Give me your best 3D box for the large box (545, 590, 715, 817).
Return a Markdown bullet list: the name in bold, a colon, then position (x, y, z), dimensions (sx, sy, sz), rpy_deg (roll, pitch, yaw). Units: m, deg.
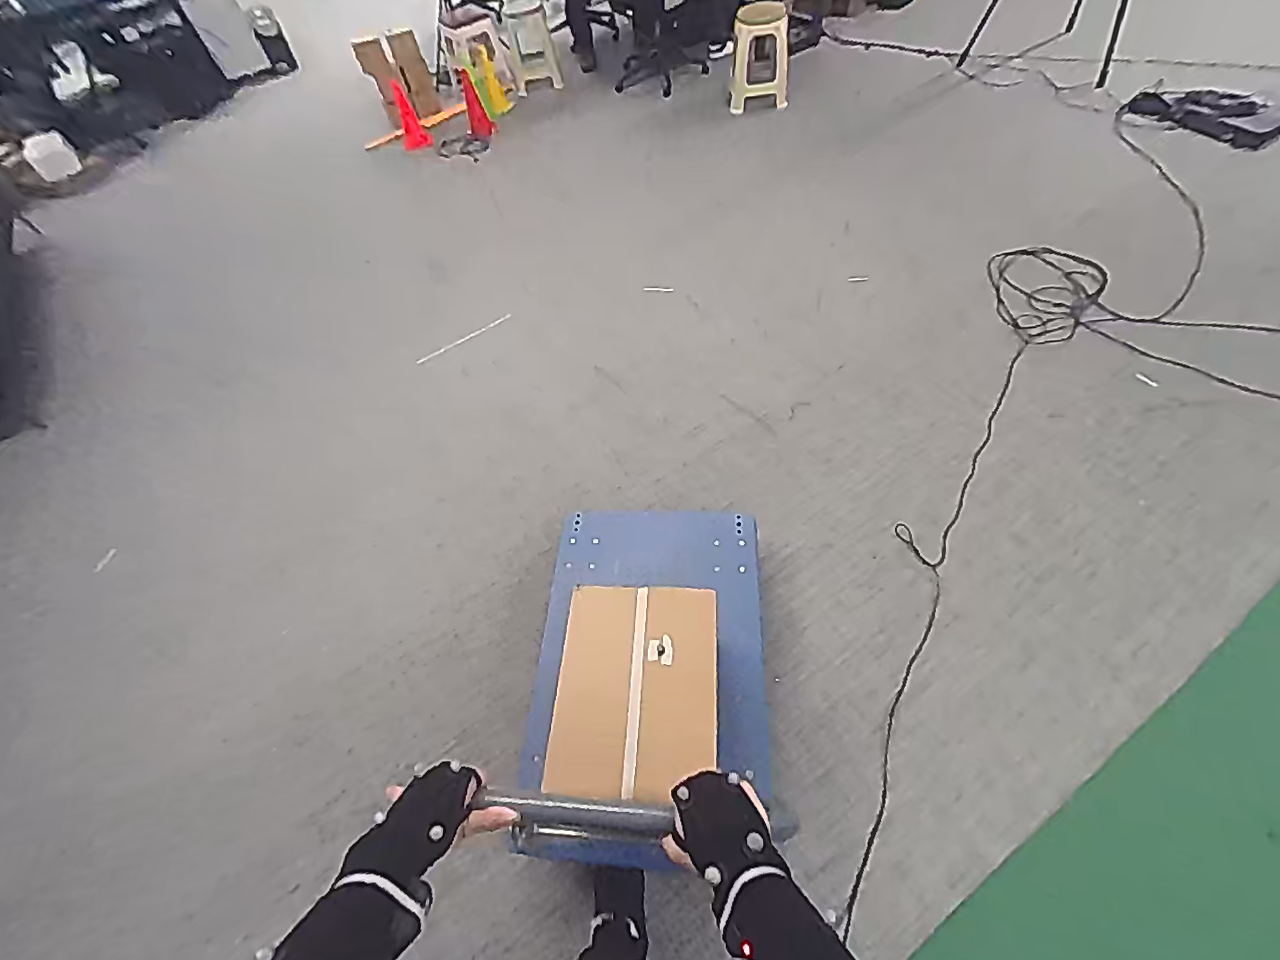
- **large box**: position (0.006, 0.493, 1.194), dimensions (0.320, 0.320, 0.408), rpy_deg (1, 54, 7)
